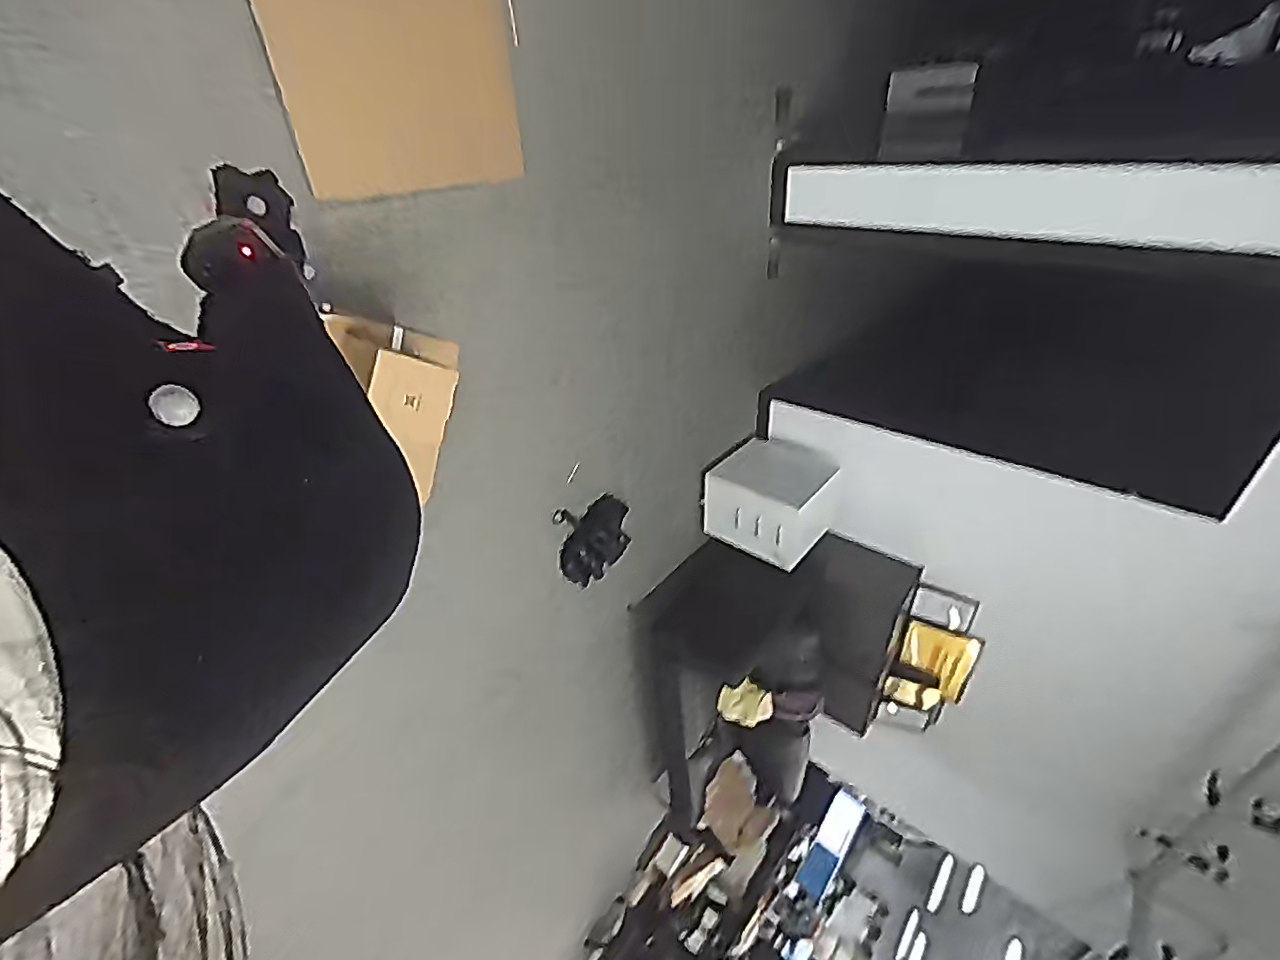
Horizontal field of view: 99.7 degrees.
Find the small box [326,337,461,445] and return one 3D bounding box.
[{"bbox_3d":[-0.504,-0.182,1.103,0.179,0.176,0.168,8,102,-52],"label":"small box"}]
